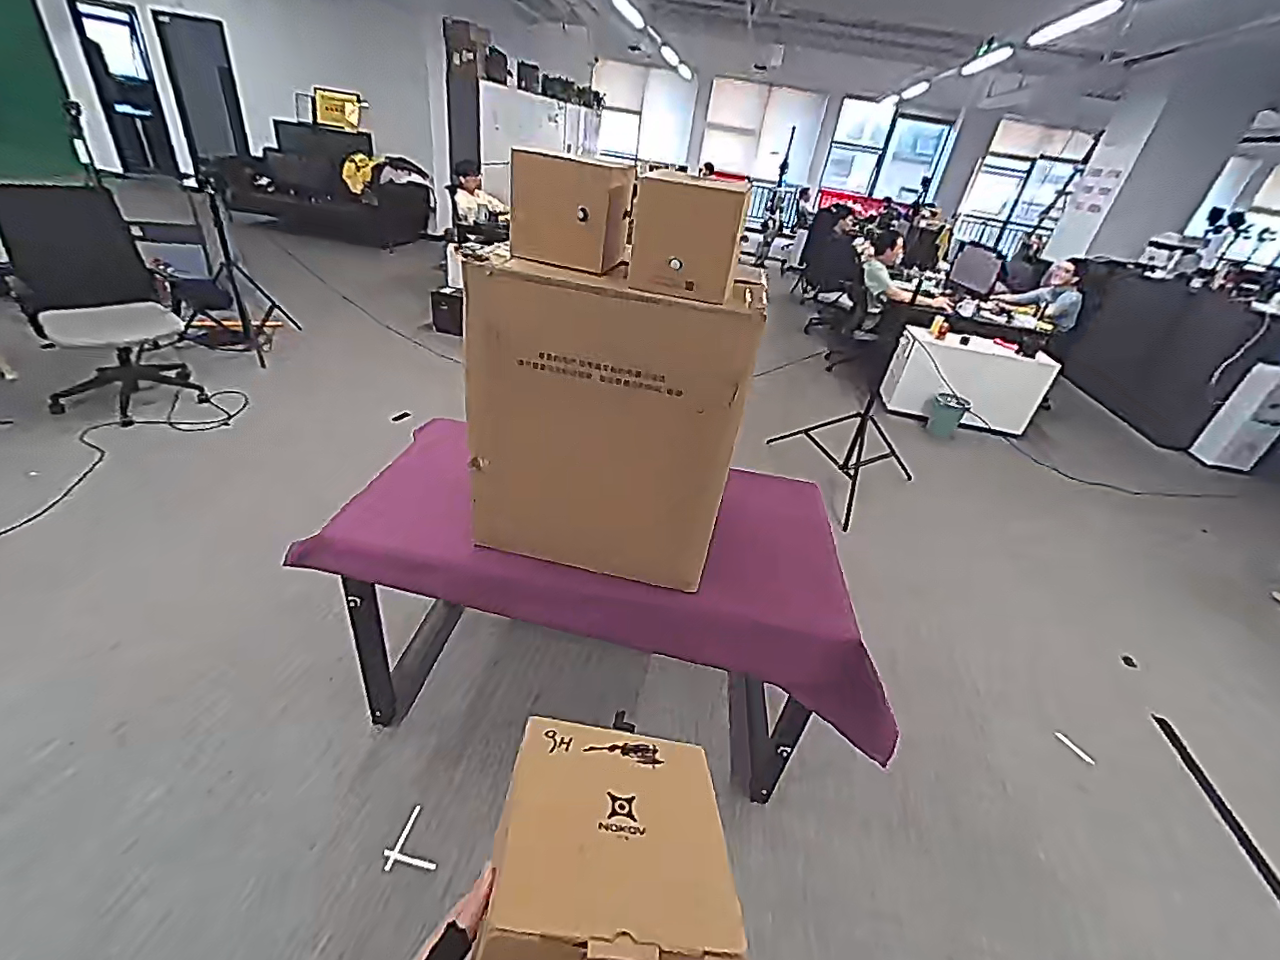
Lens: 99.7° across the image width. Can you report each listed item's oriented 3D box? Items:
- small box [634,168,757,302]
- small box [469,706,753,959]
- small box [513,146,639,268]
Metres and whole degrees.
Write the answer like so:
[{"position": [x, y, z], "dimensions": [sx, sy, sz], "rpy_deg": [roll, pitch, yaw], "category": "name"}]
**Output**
[{"position": [0.092, -0.414, 0.909], "dimensions": [0.168, 0.176, 0.179], "rpy_deg": [13, 33, 7], "category": "small box"}, {"position": [-0.032, 0.319, 0.426], "dimensions": [0.168, 0.176, 0.179], "rpy_deg": [15, 17, -8], "category": "small box"}, {"position": [-0.114, -0.487, 0.969], "dimensions": [0.179, 0.176, 0.168], "rpy_deg": [13, 32, 6], "category": "small box"}]
